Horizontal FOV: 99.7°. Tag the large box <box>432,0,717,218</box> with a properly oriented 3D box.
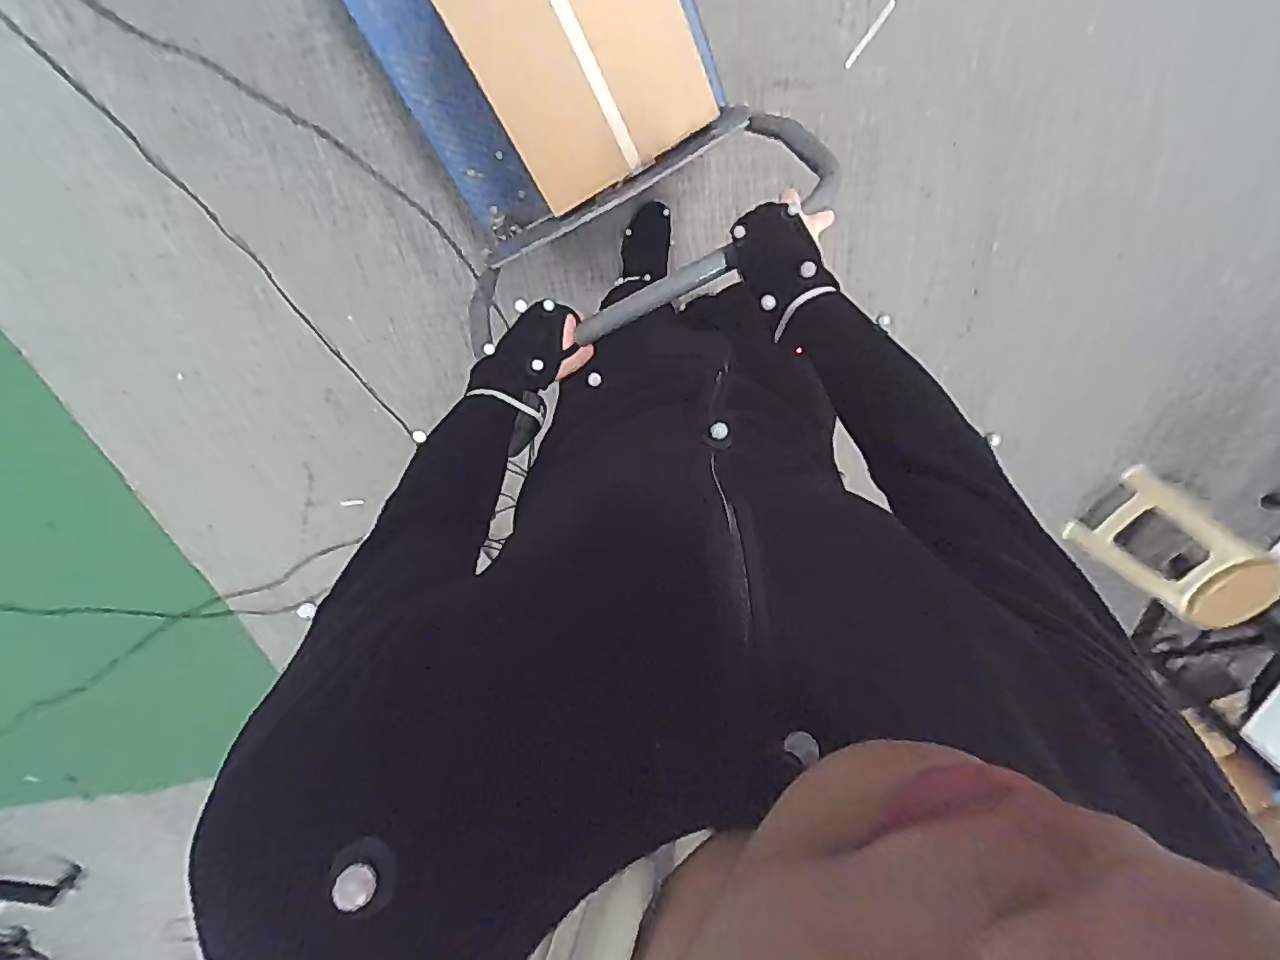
[{"bbox_3d":[-0.108,-0.743,0.938,0.320,0.320,0.408,-27,122,11],"label":"large box"}]
